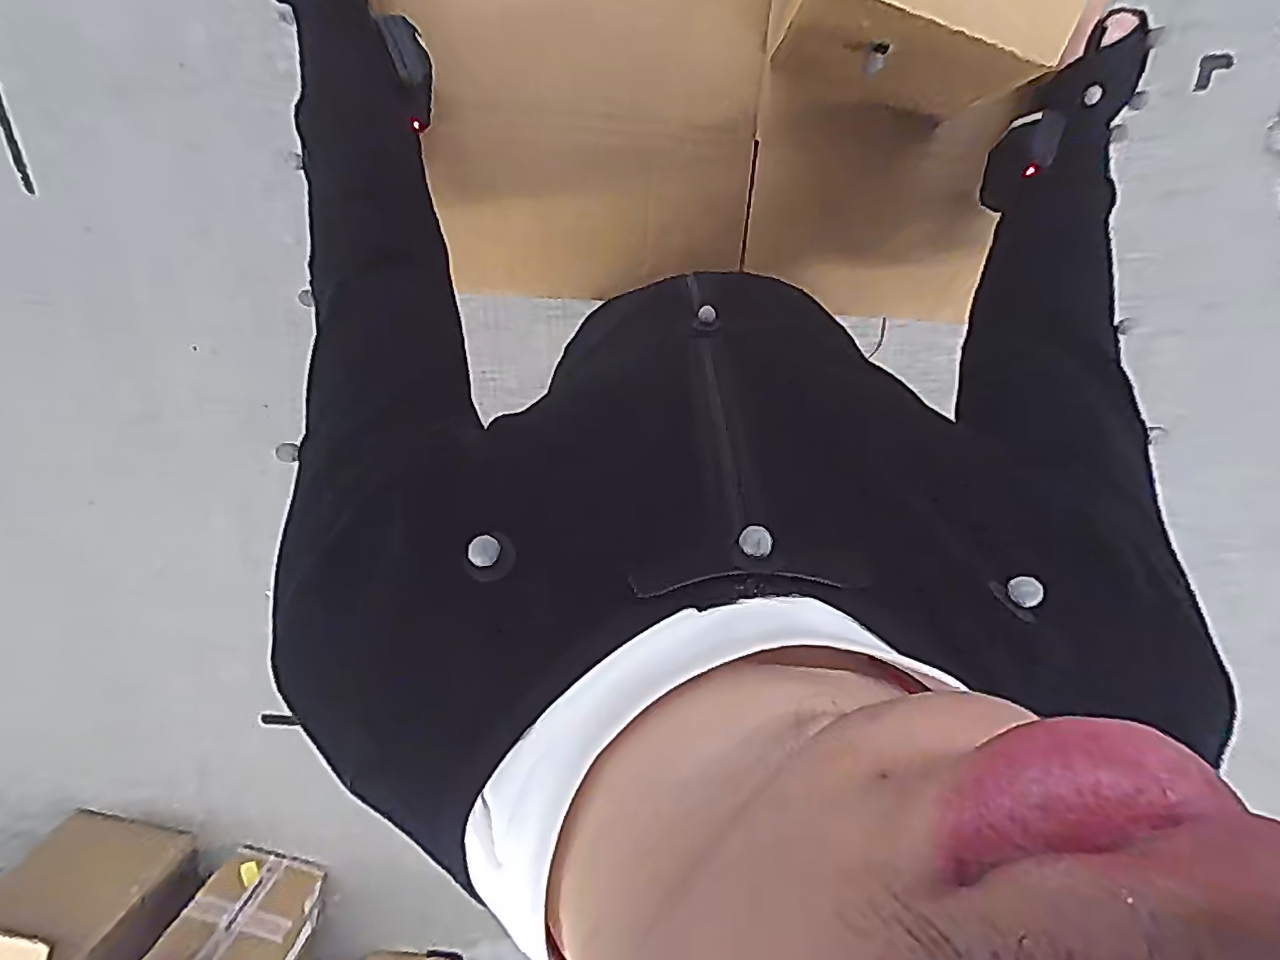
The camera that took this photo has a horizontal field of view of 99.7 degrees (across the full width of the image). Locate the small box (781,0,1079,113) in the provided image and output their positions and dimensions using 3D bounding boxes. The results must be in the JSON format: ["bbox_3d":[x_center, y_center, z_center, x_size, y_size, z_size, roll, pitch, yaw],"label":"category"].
[{"bbox_3d":[0.224,-0.409,0.407,0.179,0.176,0.168,17,112,-3],"label":"small box"}]
